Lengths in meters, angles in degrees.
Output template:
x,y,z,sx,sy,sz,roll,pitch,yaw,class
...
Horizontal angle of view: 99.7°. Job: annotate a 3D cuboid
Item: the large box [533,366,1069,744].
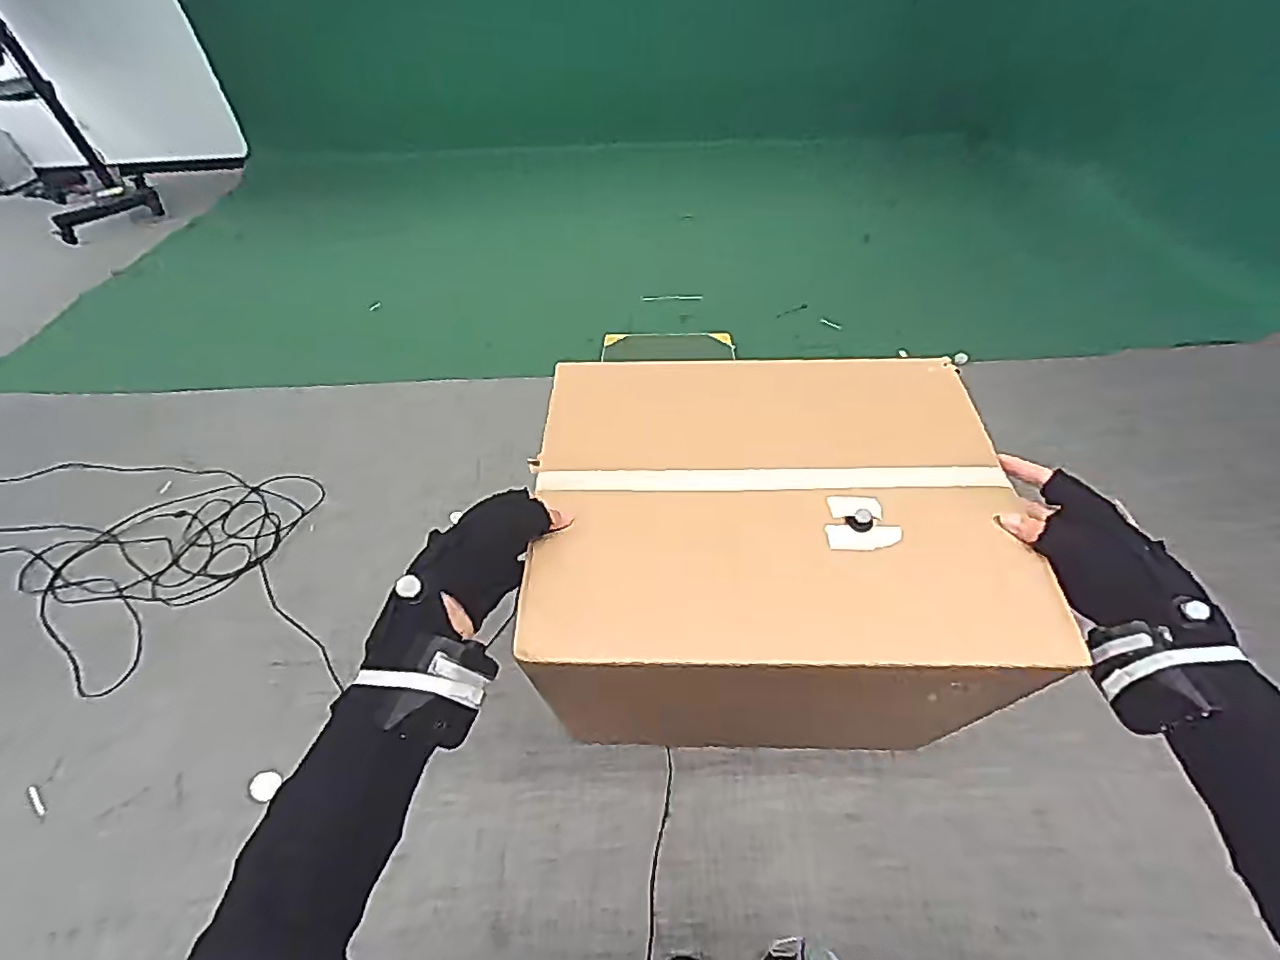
x,y,z,sx,sy,sz,roll,pitch,yaw,class
0.118,0.094,0.602,0.408,0.320,0.320,0,54,1,large box
